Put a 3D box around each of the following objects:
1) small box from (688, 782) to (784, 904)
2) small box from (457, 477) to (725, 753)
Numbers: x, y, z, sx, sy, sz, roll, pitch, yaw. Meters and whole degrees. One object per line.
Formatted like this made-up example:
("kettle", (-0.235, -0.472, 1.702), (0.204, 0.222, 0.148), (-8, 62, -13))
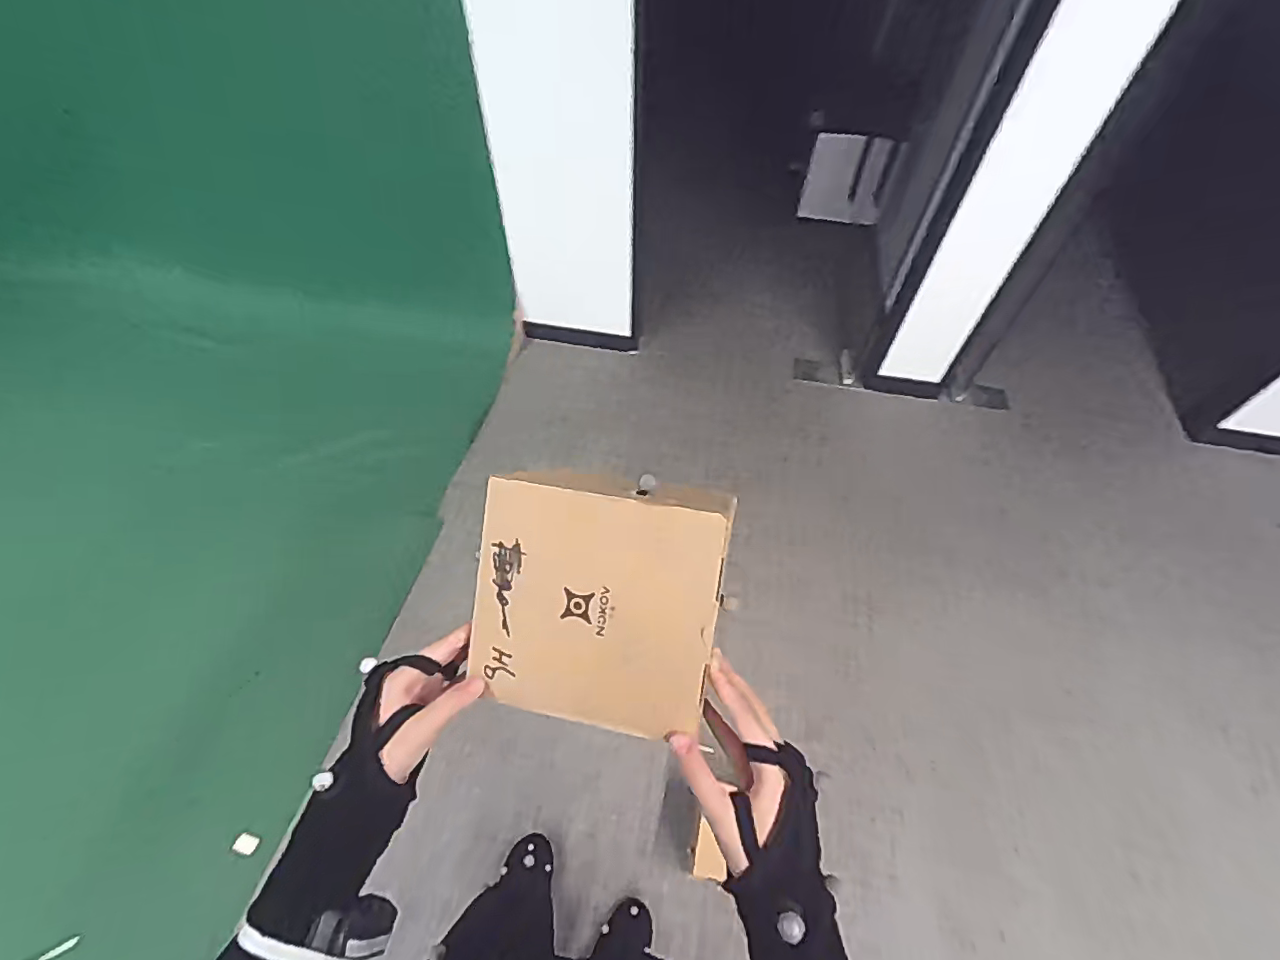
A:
("small box", (0.203, 0.784, 1.172), (0.168, 0.176, 0.179), (12, 55, 8))
("small box", (-0.026, 0.091, 0.457), (0.179, 0.176, 0.168), (9, 94, 10))
